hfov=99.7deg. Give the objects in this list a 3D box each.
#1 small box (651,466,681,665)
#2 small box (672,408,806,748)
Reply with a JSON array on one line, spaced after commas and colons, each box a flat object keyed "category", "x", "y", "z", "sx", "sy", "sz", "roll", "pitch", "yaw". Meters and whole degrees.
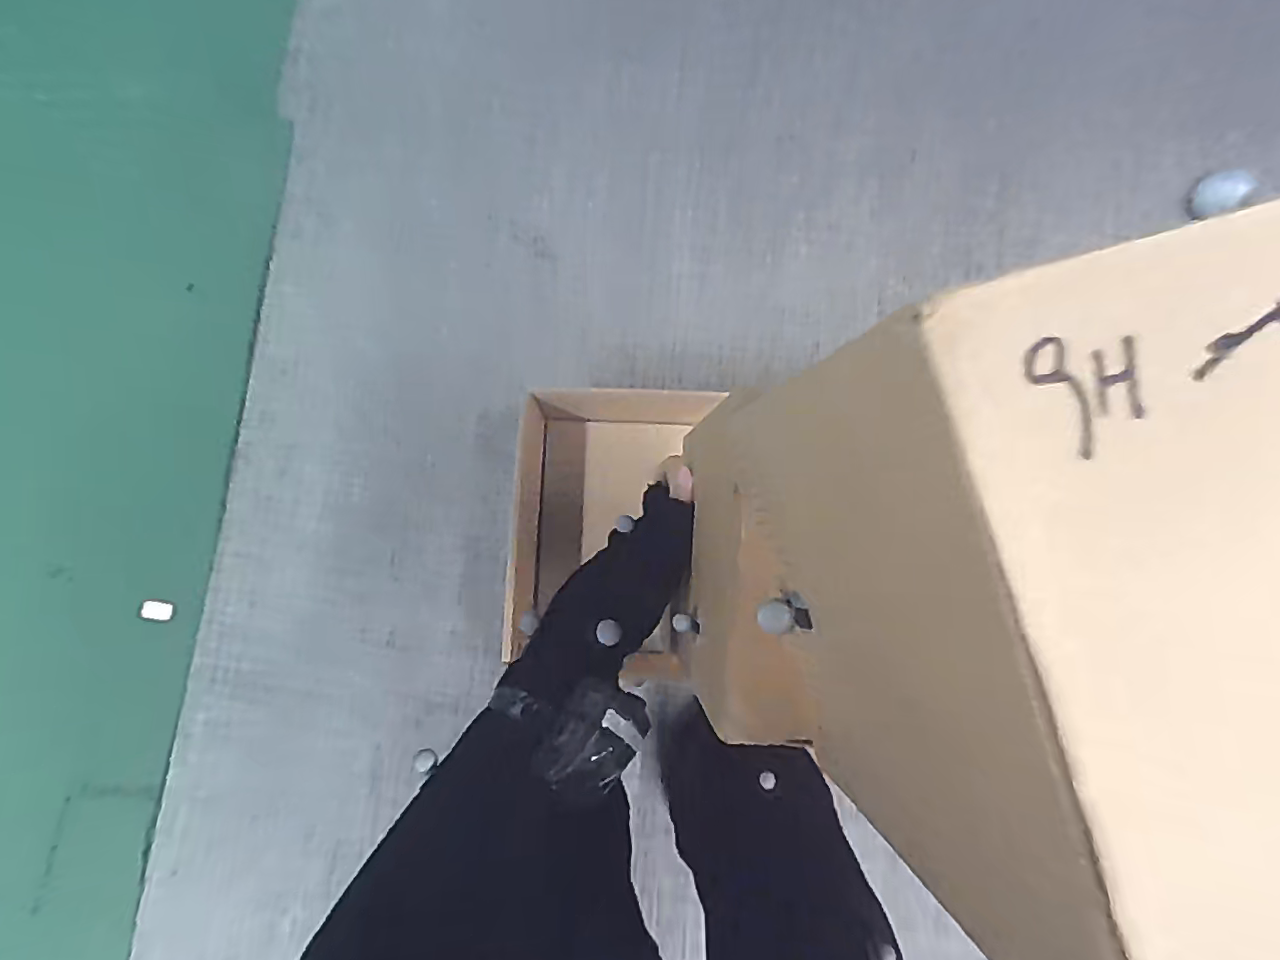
[{"category": "small box", "x": 0.104, "y": 0.077, "z": 0.524, "sx": 0.179, "sy": 0.176, "sz": 0.168, "roll": 2, "pitch": 86, "yaw": -1}, {"category": "small box", "x": 0.114, "y": 0.057, "z": 0.364, "sx": 0.168, "sy": 0.176, "sz": 0.179, "roll": 2, "pitch": 85, "yaw": -3}]
